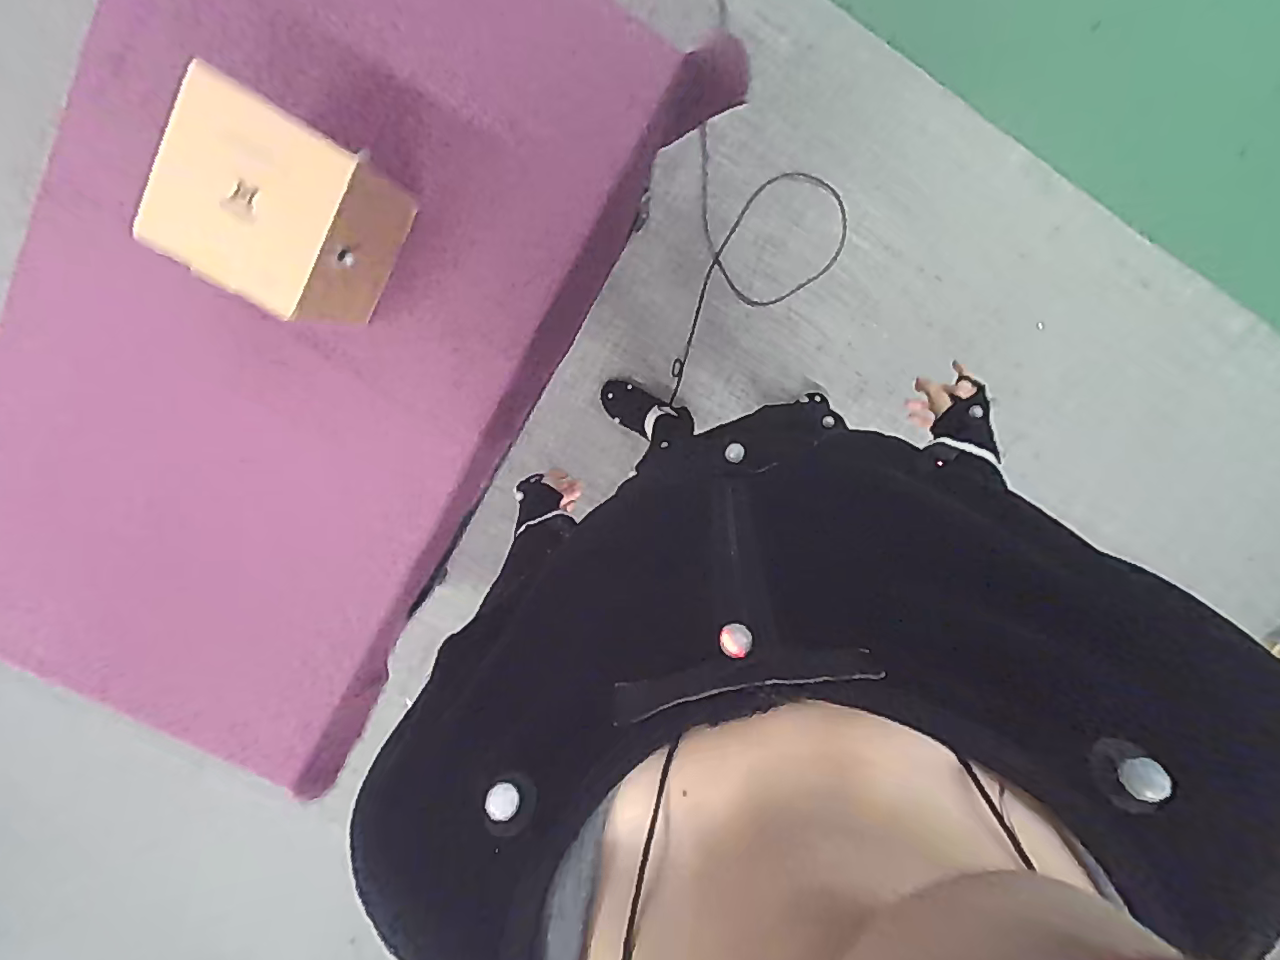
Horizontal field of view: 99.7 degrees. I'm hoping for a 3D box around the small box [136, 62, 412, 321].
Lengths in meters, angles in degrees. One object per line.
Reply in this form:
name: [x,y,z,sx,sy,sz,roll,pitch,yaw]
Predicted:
small box: [-0.385,-0.294,0.603,0.168,0.176,0.179,30,101,-8]
